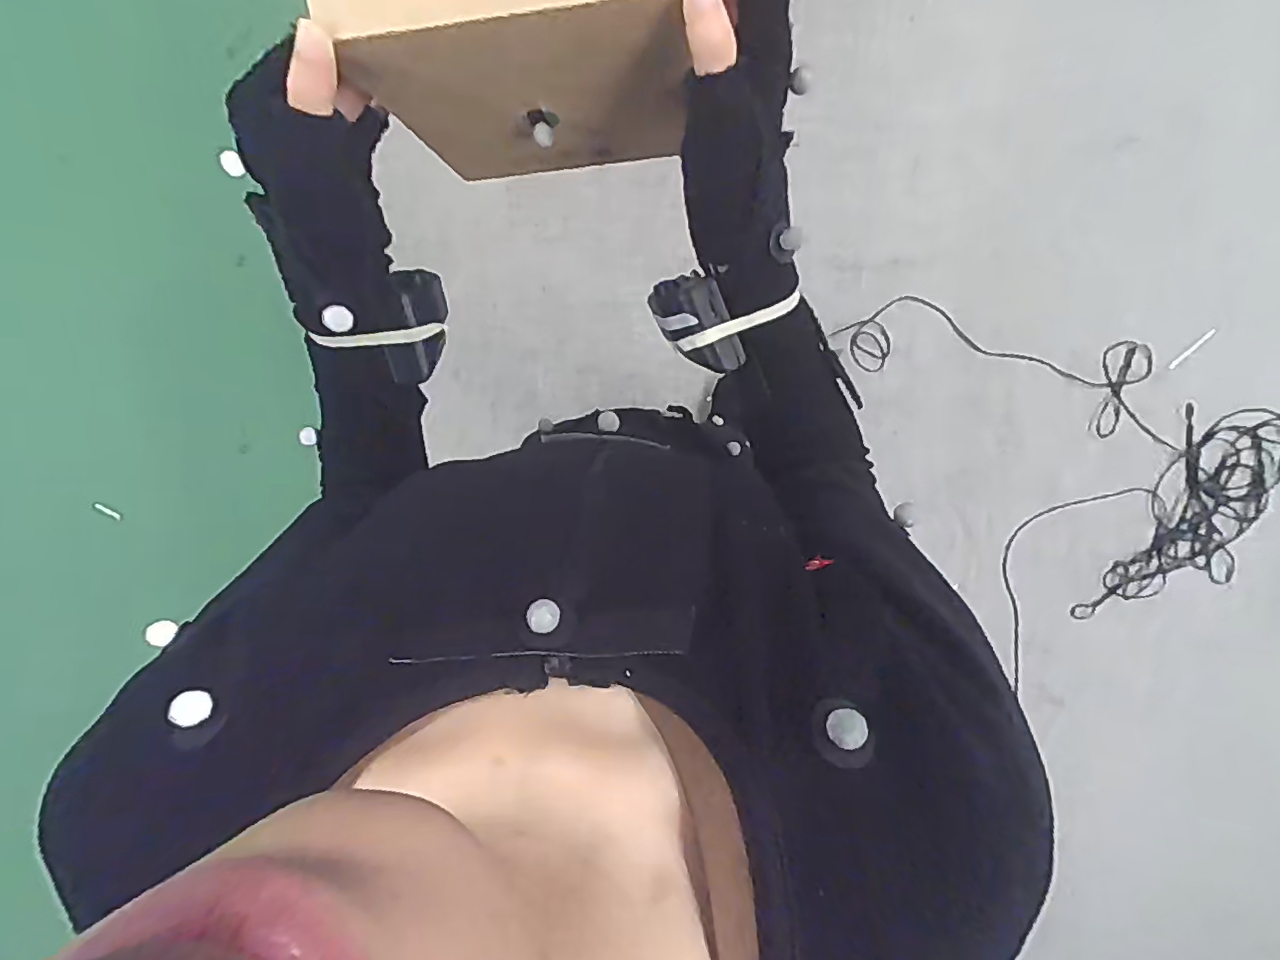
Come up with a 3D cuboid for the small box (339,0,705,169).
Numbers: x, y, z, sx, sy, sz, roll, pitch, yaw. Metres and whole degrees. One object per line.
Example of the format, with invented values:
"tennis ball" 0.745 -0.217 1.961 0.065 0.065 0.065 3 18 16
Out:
"small box" -0.053 -0.295 0.299 0.168 0.176 0.179 -5 100 4
